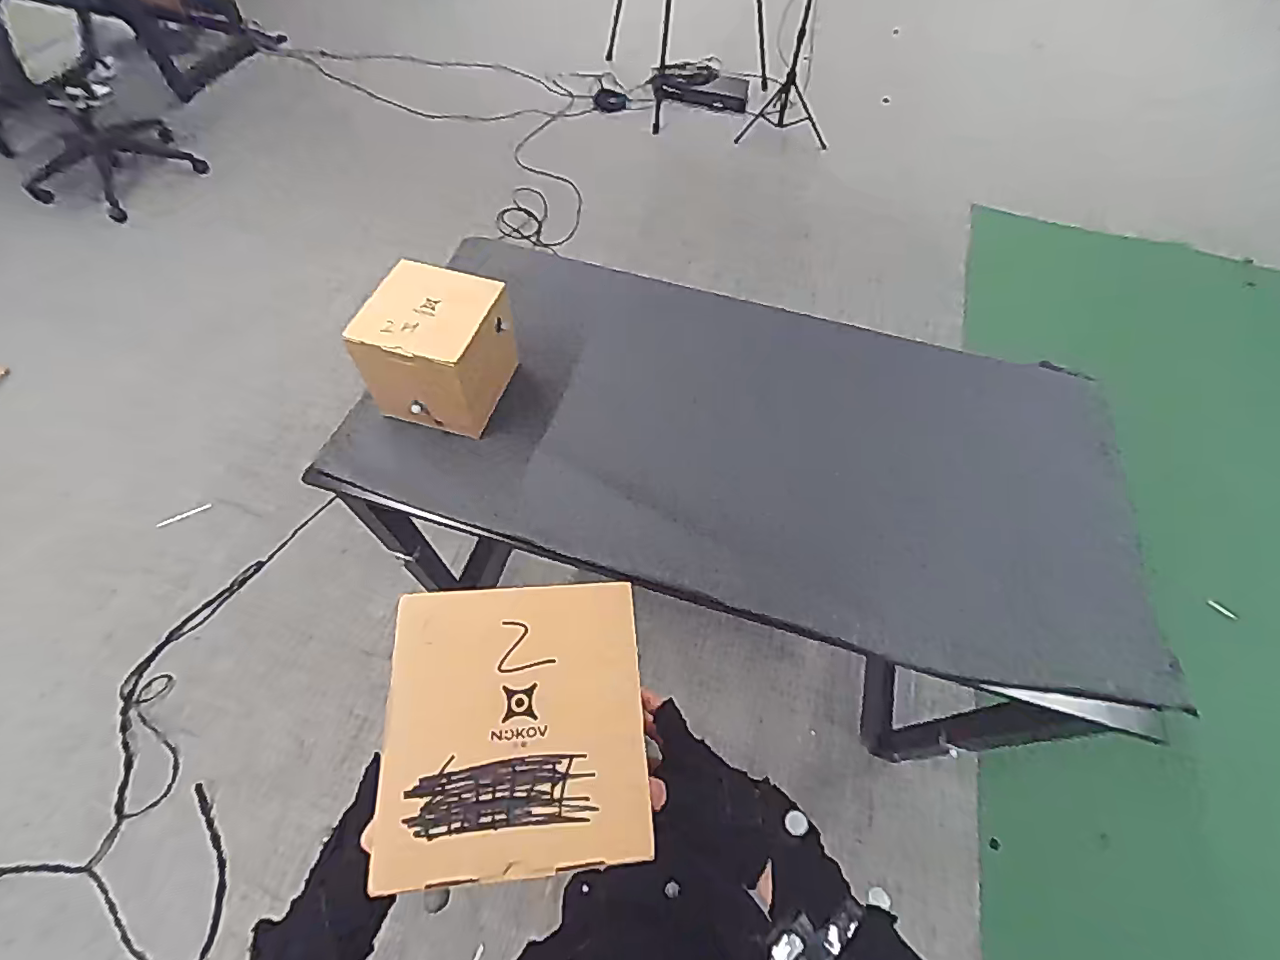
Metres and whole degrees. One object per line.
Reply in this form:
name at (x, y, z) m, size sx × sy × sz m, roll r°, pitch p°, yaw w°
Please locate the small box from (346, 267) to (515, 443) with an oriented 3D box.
small box at (-0.301, -0.187, 0.824) m, size 0.168 × 0.176 × 0.179 m, roll 15°, pitch 58°, yaw 5°
